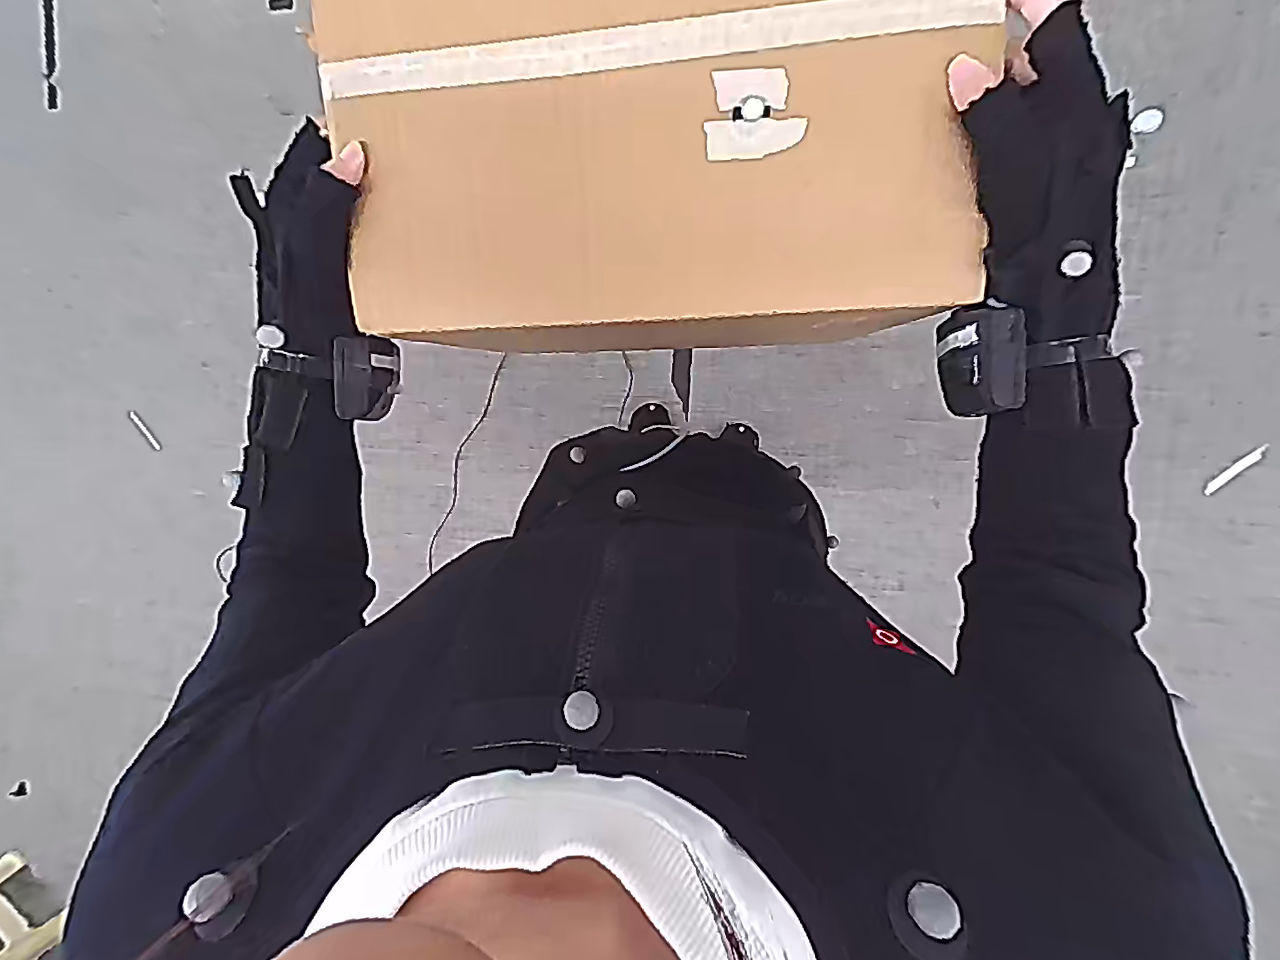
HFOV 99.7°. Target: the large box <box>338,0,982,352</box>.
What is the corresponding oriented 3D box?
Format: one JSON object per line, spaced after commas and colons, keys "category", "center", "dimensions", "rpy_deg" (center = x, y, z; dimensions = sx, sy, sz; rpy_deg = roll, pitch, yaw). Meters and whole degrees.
{"category": "large box", "center": [0.016, -0.292, 0.482], "dimensions": [0.408, 0.320, 0.320], "rpy_deg": [-1, 101, 7]}
